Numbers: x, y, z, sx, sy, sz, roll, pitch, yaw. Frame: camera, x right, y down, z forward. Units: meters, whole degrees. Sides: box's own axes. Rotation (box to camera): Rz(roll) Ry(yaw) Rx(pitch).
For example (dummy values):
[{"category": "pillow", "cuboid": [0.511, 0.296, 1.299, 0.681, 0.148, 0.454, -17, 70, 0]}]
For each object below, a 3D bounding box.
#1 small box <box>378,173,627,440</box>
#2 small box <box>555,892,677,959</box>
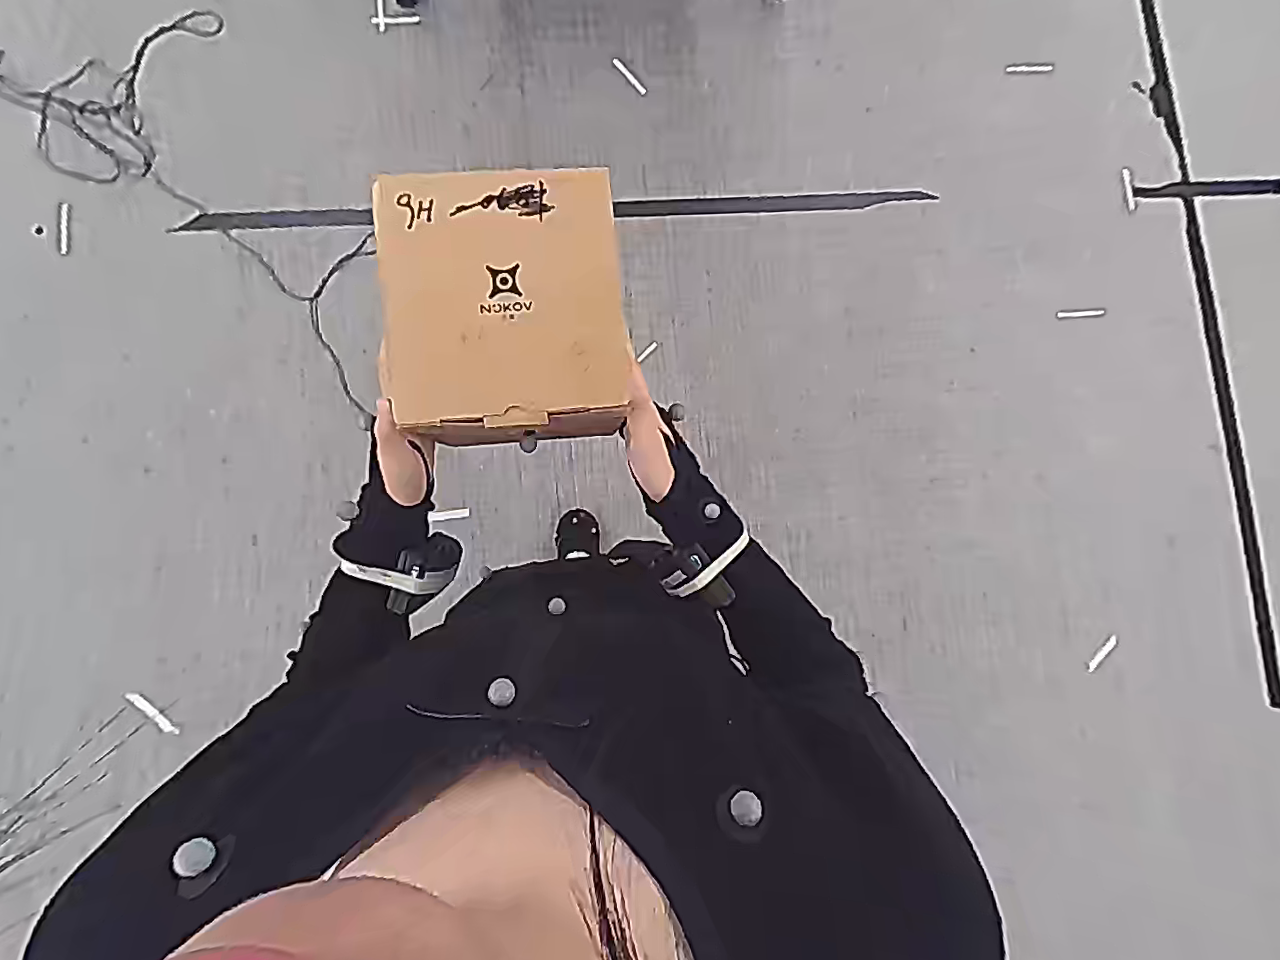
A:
[{"category": "small box", "cuboid": [-0.101, -0.127, 0.460, 0.168, 0.176, 0.179, -5, 89, -6]}, {"category": "small box", "cuboid": [-0.027, 0.722, 0.746, 0.168, 0.176, 0.179, -6, 84, -4]}]
